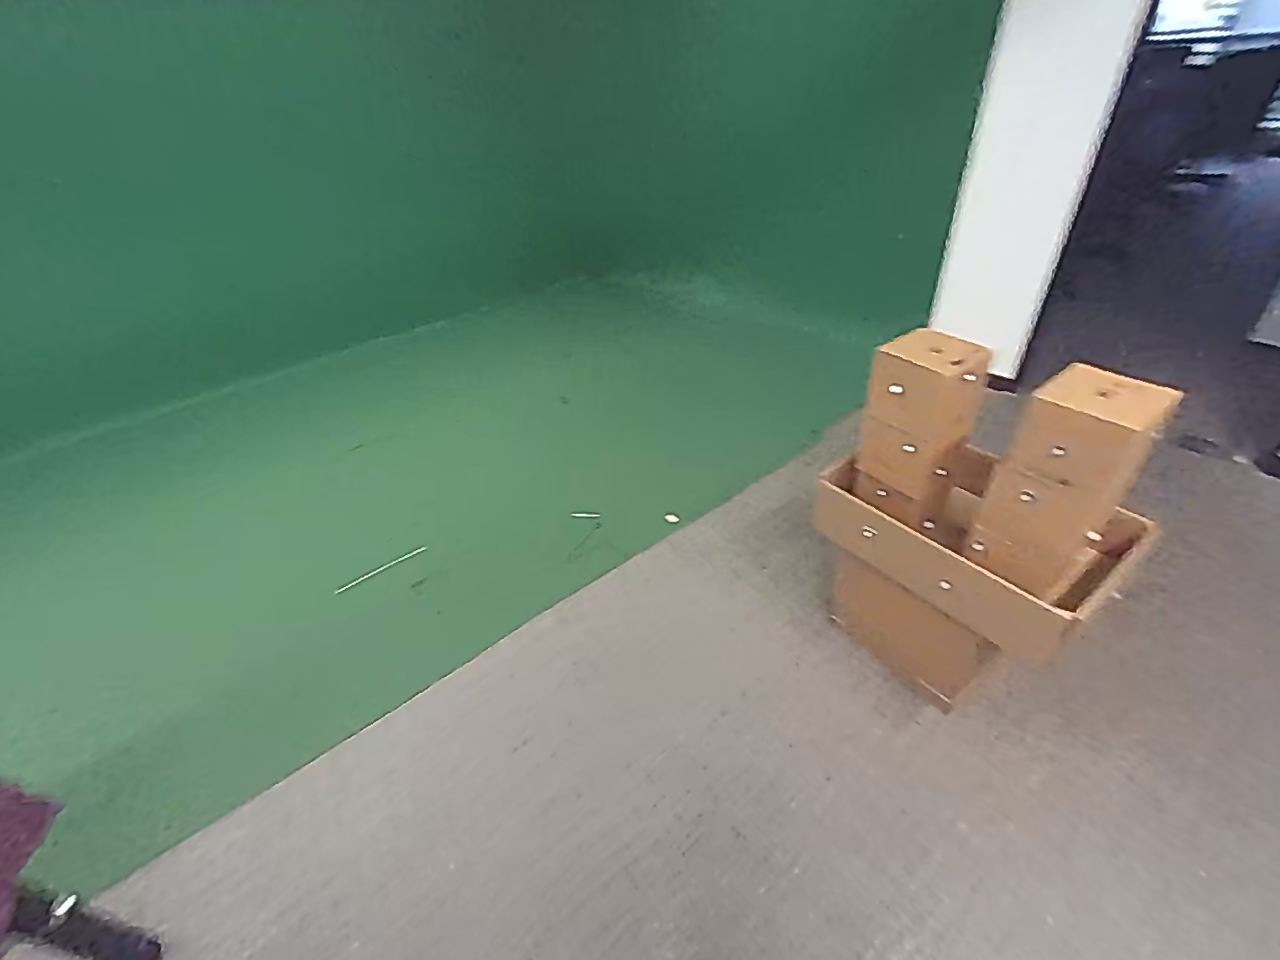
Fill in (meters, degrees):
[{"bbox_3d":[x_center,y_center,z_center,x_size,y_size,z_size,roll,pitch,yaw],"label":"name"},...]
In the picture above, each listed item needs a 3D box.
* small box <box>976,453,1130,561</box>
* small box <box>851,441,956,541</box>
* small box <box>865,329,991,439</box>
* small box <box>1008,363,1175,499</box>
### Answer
[{"bbox_3d":[0.841,0.036,1.122,0.168,0.176,0.179,-26,42,-22],"label":"small box"},{"bbox_3d":[0.685,0.029,1.427,0.168,0.176,0.179,-28,43,-23],"label":"small box"},{"bbox_3d":[0.635,-0.217,1.217,0.168,0.176,0.179,-27,42,-22],"label":"small box"},{"bbox_3d":[0.833,-0.092,1.017,0.179,0.176,0.168,-27,43,-24],"label":"small box"}]
